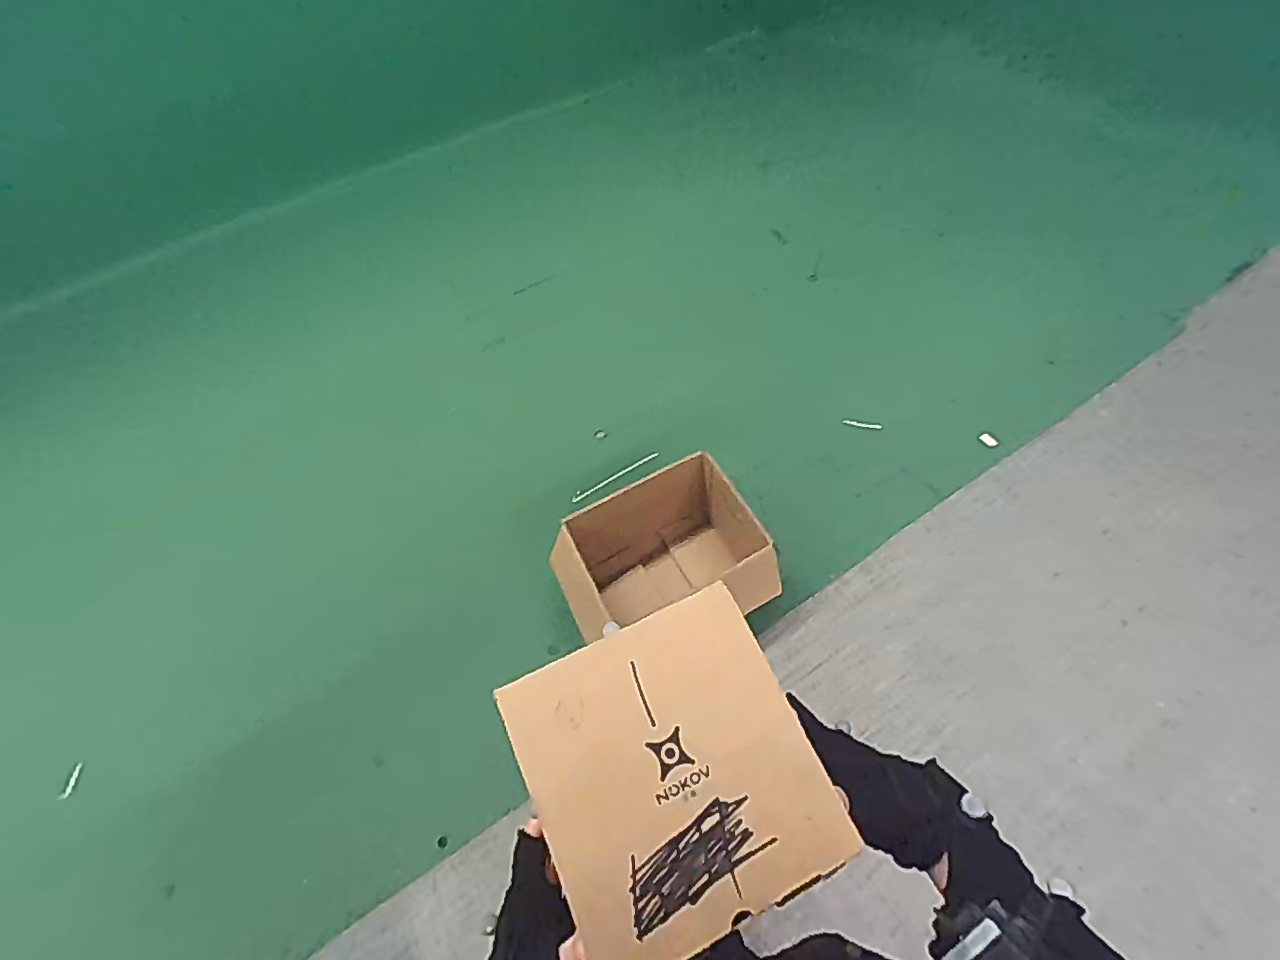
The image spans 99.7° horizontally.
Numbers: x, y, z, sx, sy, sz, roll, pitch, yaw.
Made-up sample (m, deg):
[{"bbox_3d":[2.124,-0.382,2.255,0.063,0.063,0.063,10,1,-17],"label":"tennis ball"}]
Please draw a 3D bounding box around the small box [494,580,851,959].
[{"bbox_3d":[0.012,0.197,0.398,0.168,0.176,0.179,-22,71,-12],"label":"small box"}]
